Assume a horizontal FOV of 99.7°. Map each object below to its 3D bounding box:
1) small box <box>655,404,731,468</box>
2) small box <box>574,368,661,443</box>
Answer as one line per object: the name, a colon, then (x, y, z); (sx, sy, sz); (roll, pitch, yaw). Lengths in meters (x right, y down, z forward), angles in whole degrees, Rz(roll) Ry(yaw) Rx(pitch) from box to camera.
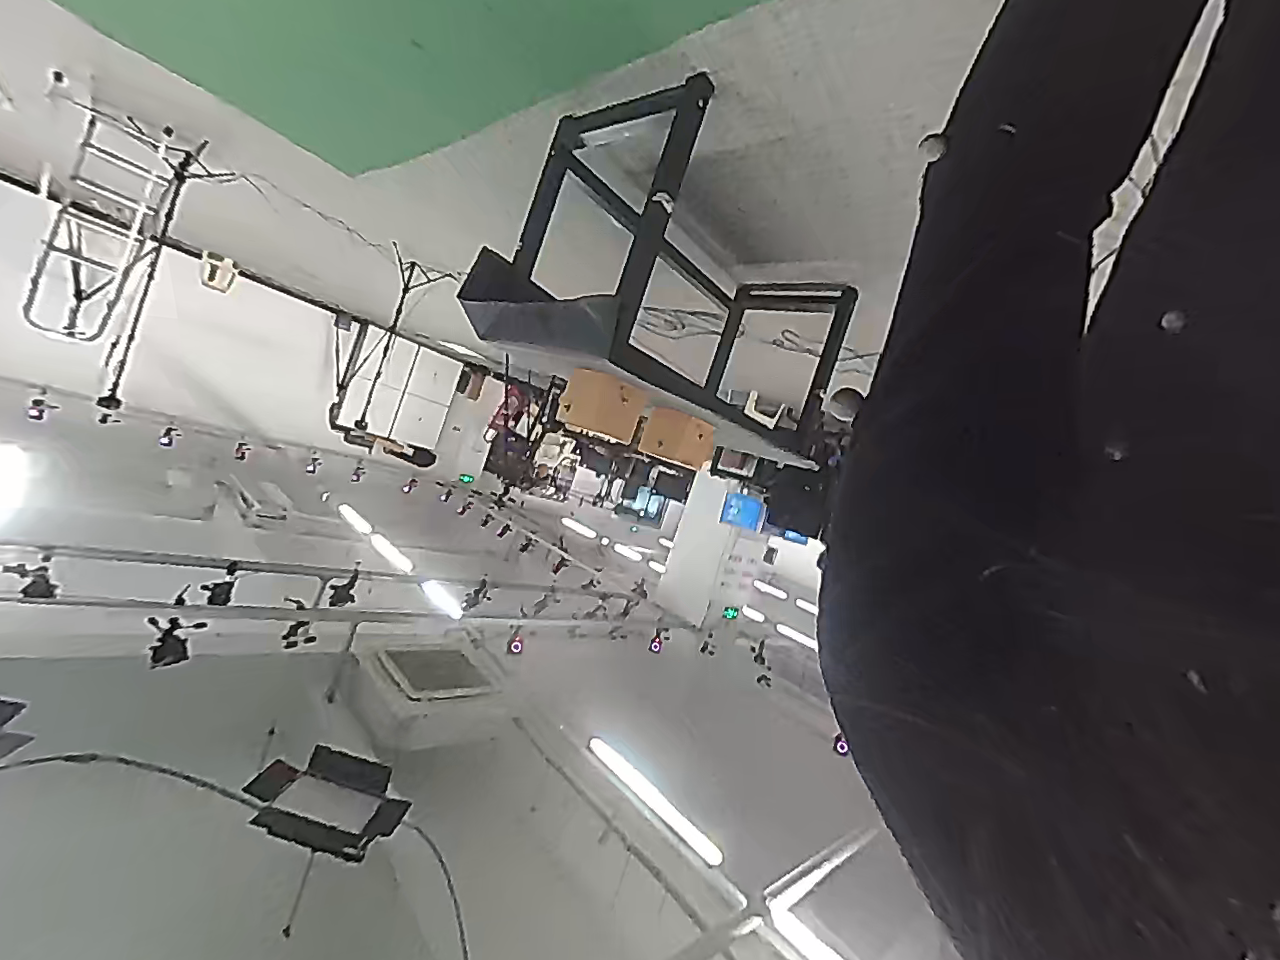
small box: (0.189, -0.157, 1.895); (0.179, 0.176, 0.168); (20, -178, 44)
small box: (-0.063, -0.228, 1.623); (0.168, 0.176, 0.179); (15, -176, -45)
